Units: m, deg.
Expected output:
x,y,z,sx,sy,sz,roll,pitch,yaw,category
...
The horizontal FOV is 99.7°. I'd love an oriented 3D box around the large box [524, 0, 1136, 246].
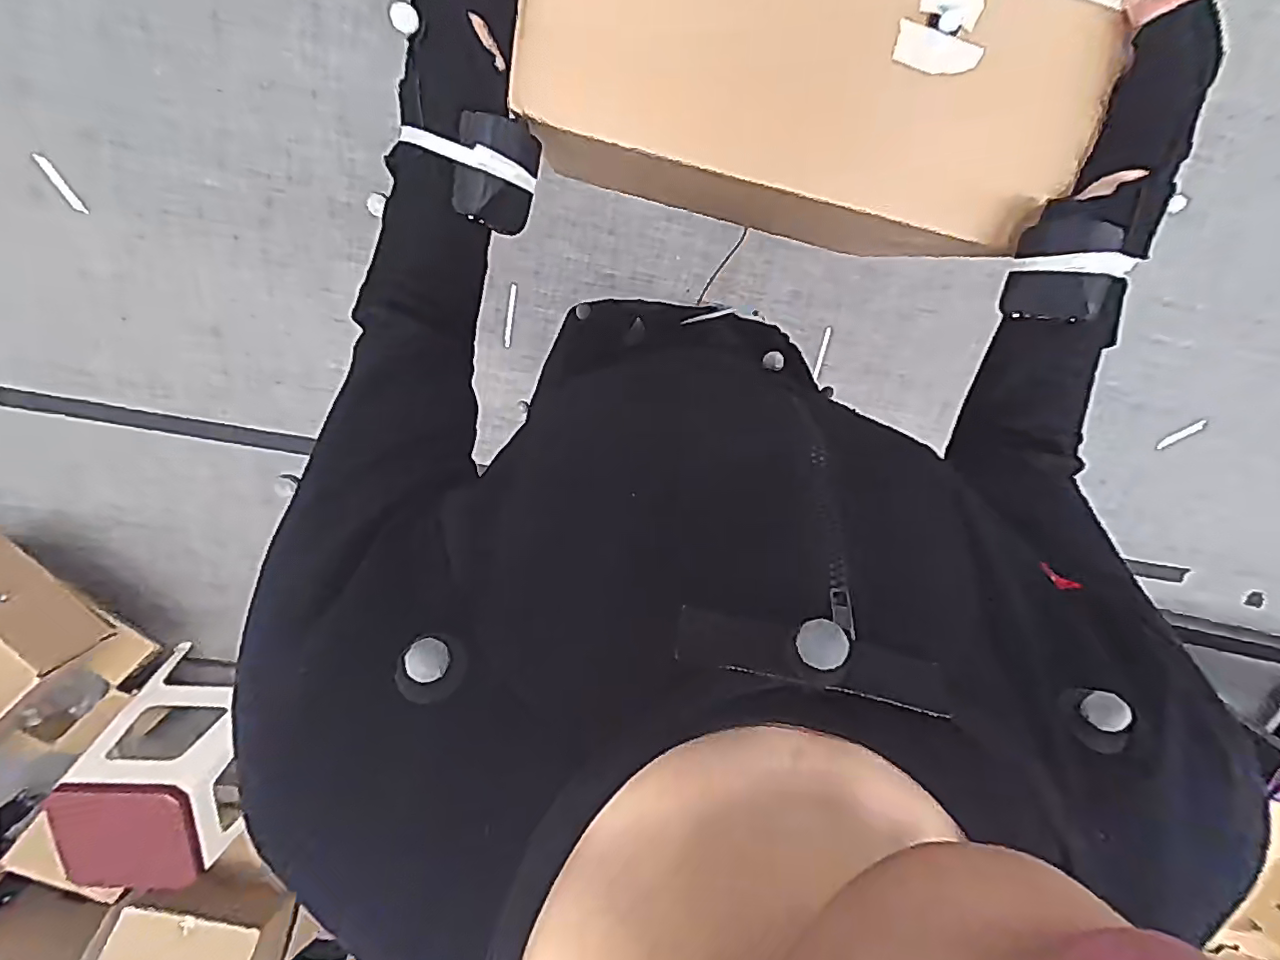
x,y,z,sx,sy,sz,roll,pitch,yaw,category
0.131,-0.413,0.478,0.408,0.320,0.320,10,113,-8,large box
